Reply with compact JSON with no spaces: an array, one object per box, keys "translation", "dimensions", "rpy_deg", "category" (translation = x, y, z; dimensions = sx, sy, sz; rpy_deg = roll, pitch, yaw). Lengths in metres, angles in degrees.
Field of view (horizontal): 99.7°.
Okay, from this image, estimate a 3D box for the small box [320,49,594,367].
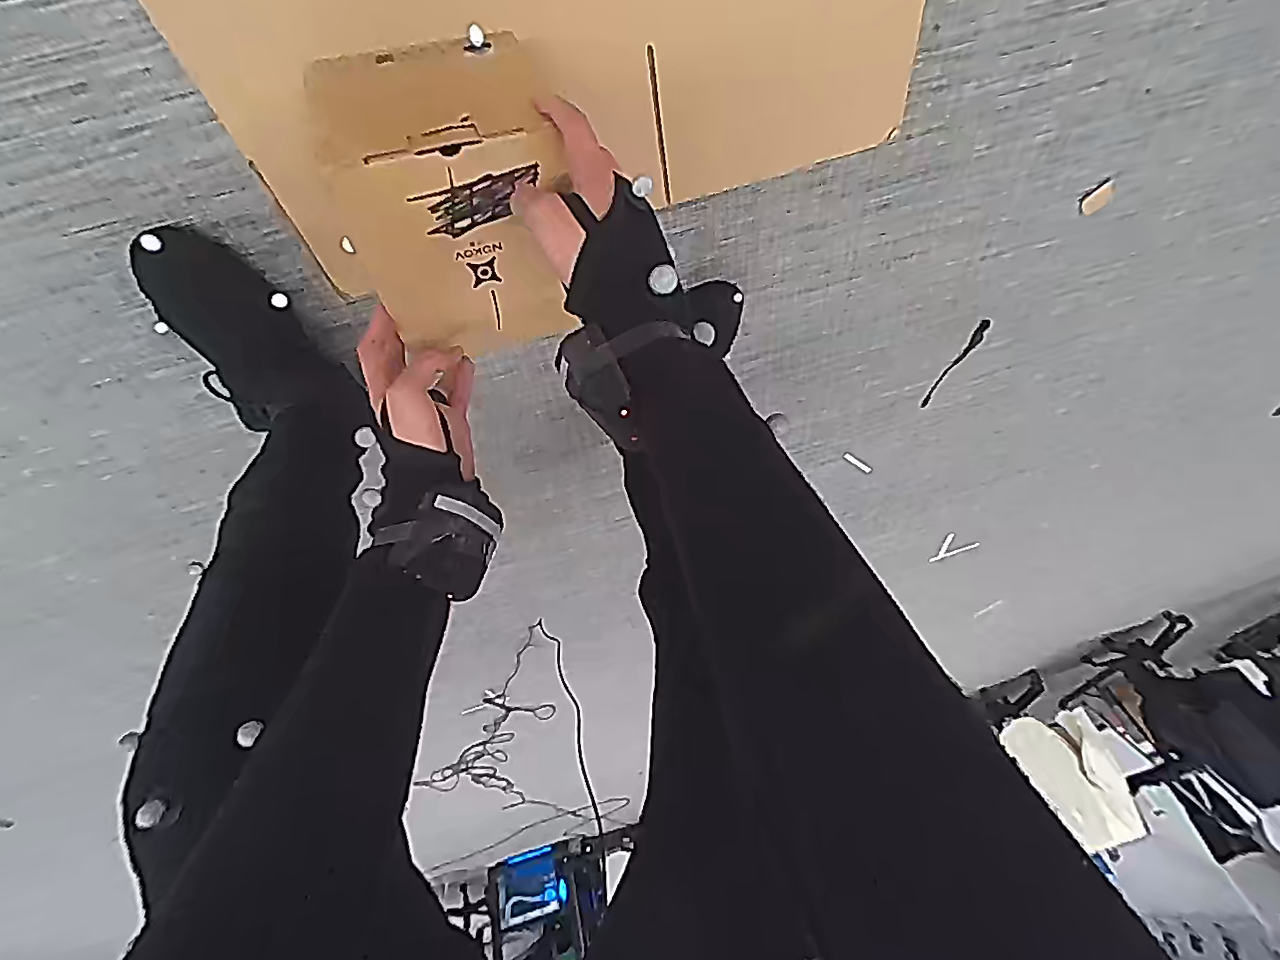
[{"translation":[-0.149,-0.234,0.463],"dimensions":[0.168,0.176,0.179],"rpy_deg":[-18,149,-10],"category":"small box"}]
